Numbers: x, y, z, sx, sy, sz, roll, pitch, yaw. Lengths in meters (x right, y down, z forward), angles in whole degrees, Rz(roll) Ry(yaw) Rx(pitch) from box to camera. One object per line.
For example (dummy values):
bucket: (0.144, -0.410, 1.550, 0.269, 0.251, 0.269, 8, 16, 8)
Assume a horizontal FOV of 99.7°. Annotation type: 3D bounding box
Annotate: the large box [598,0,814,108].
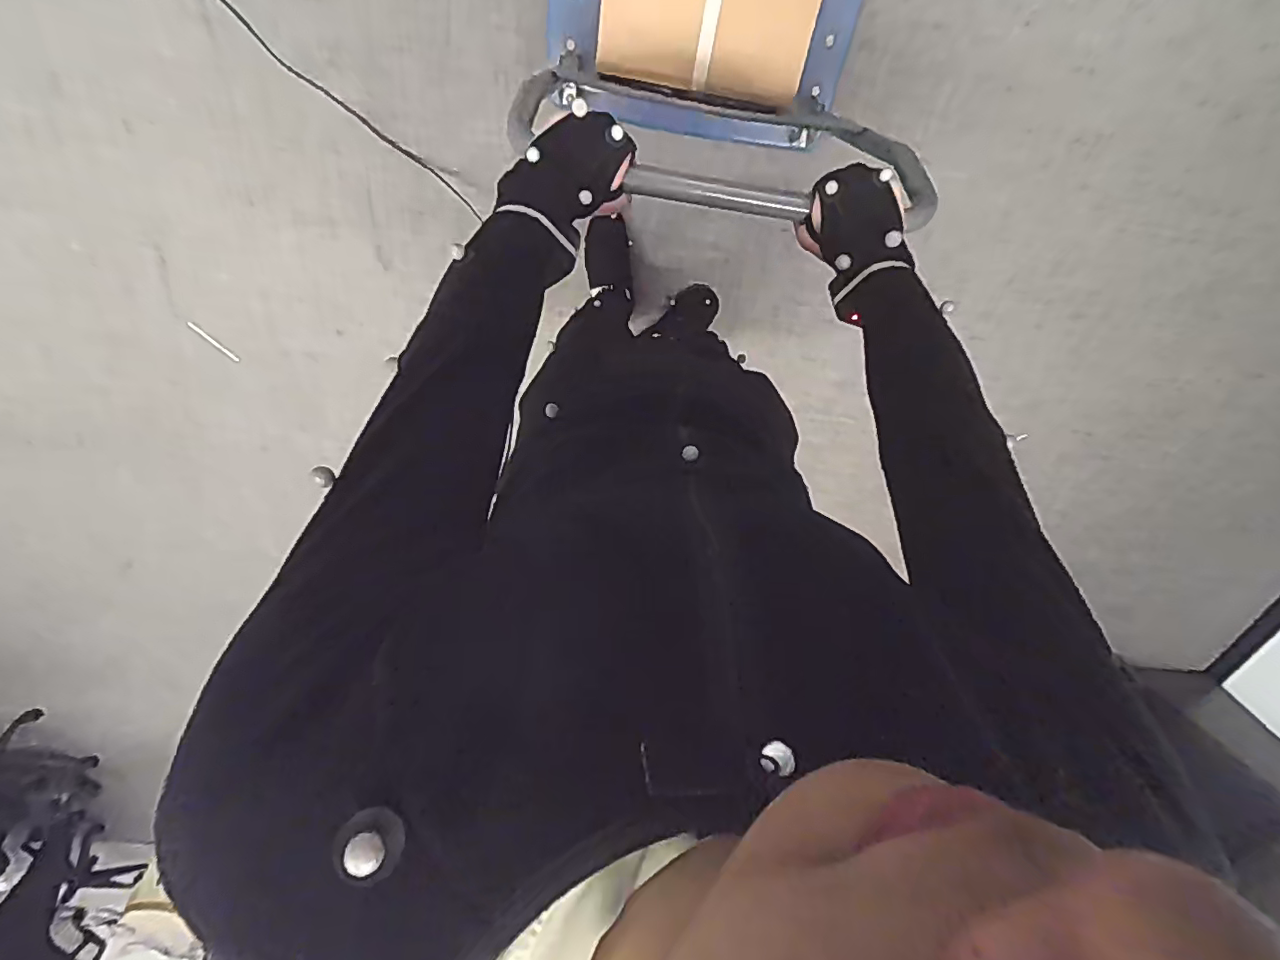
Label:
large box: (0.114, -0.857, 0.864, 0.320, 0.320, 0.408, 7, 124, -5)
